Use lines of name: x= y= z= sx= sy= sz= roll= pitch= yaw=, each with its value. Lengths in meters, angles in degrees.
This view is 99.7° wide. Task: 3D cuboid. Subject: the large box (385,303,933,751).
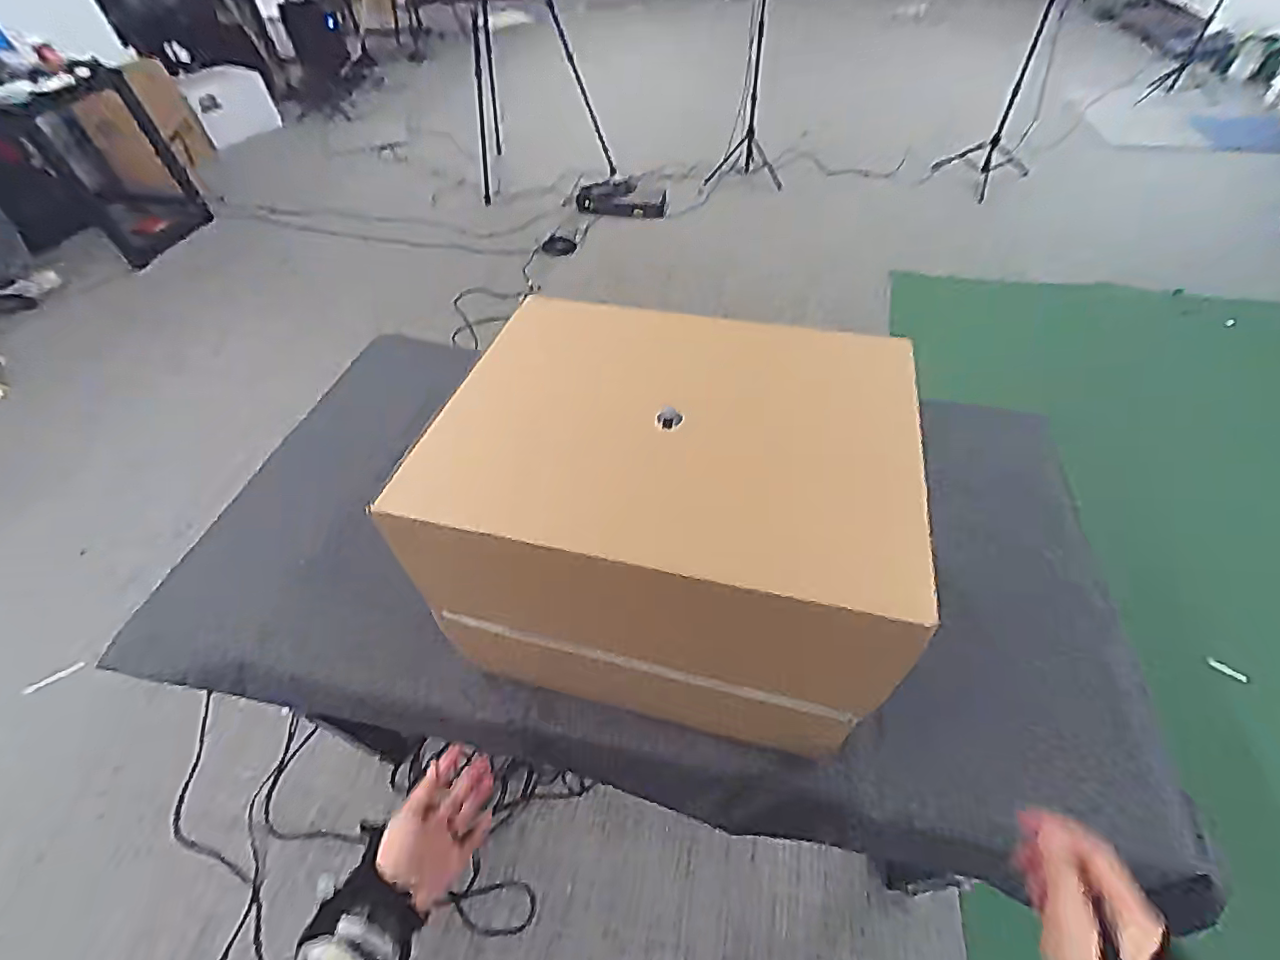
large box: x=0.034 y=0.049 z=0.580 sx=0.408 sy=0.320 sz=0.320 roll=9 pitch=50 yaw=10
